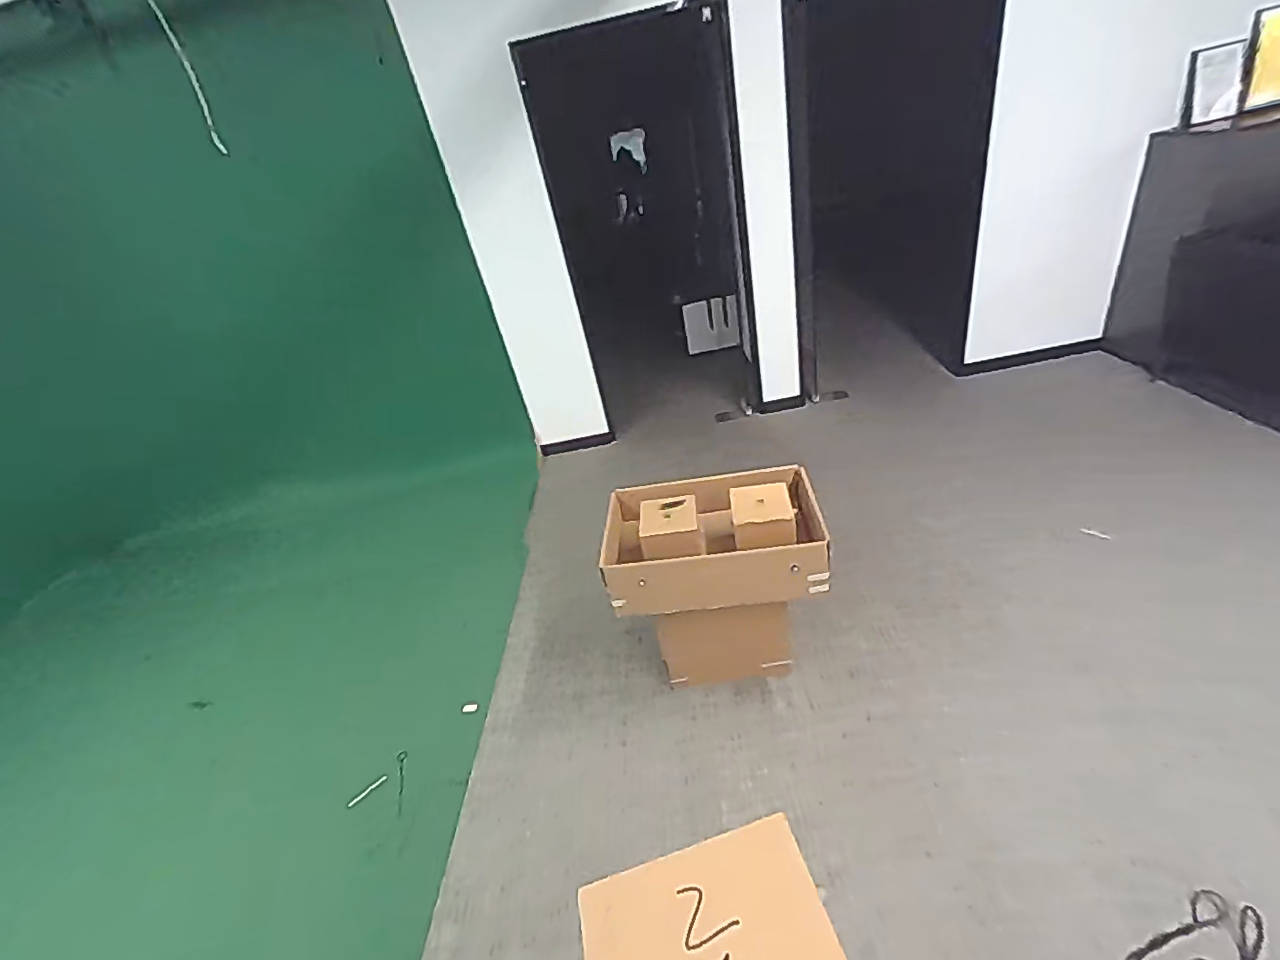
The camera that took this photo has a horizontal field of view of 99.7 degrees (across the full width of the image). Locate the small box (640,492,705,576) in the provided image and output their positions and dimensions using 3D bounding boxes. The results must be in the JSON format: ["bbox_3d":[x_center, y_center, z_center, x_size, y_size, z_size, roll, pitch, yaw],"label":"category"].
[{"bbox_3d":[0.098,0.161,1.611,0.168,0.176,0.179,-9,33,8],"label":"small box"}]
